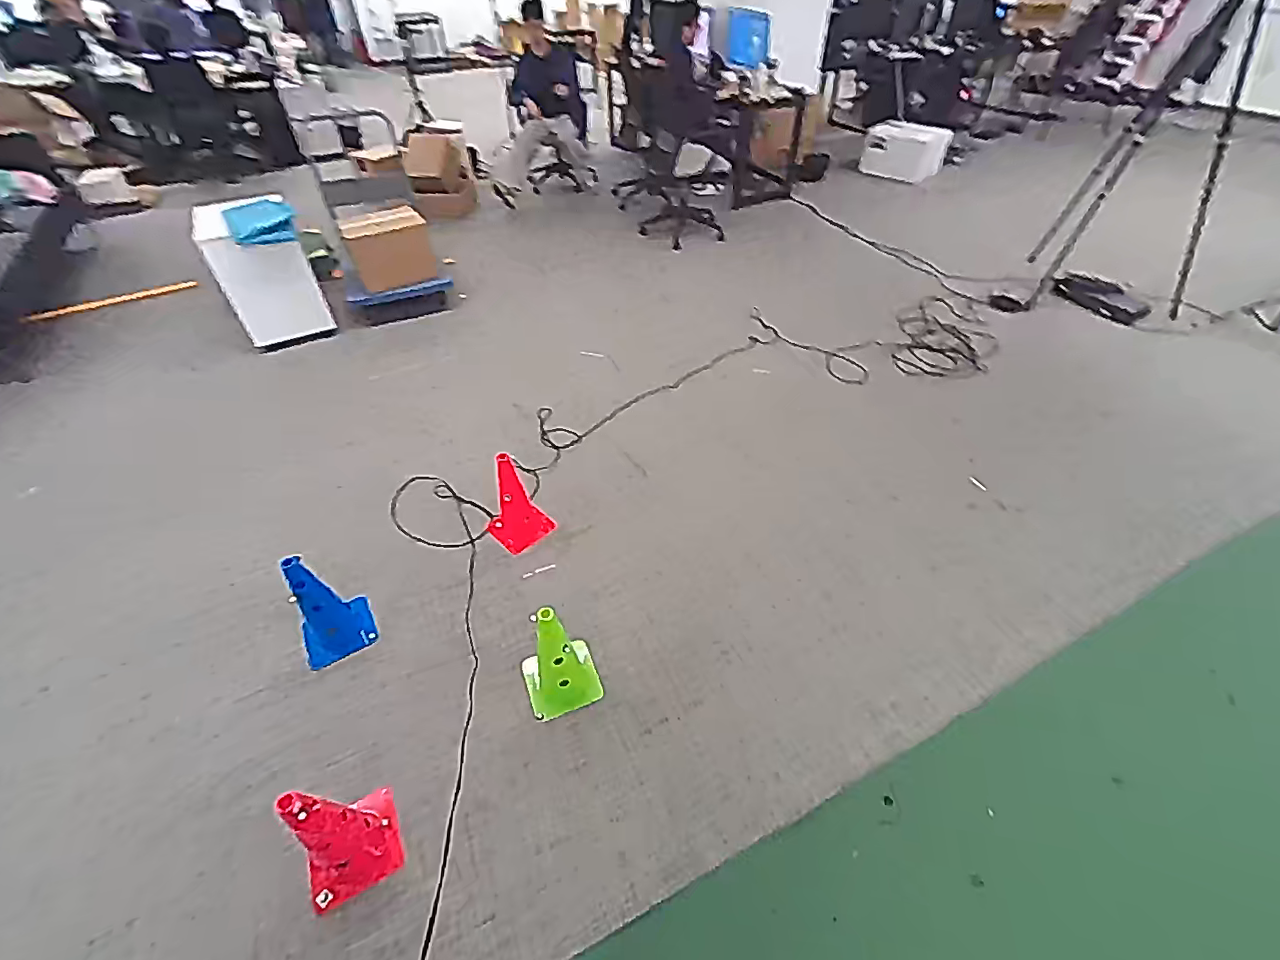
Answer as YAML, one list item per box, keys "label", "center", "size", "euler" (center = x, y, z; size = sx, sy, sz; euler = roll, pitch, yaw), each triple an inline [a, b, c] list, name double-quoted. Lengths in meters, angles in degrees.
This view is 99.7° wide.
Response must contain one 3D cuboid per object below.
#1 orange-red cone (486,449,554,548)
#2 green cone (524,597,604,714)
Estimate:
- label: "orange-red cone"
  center: [-0.445, 0.034, 1.879]
  size: [0.198, 0.360, 0.199]
  euler: [-36, 56, -29]
- label: "green cone"
  center: [-0.227, 0.439, 1.461]
  size: [0.200, 0.368, 0.202]
  euler: [-18, 46, -16]
